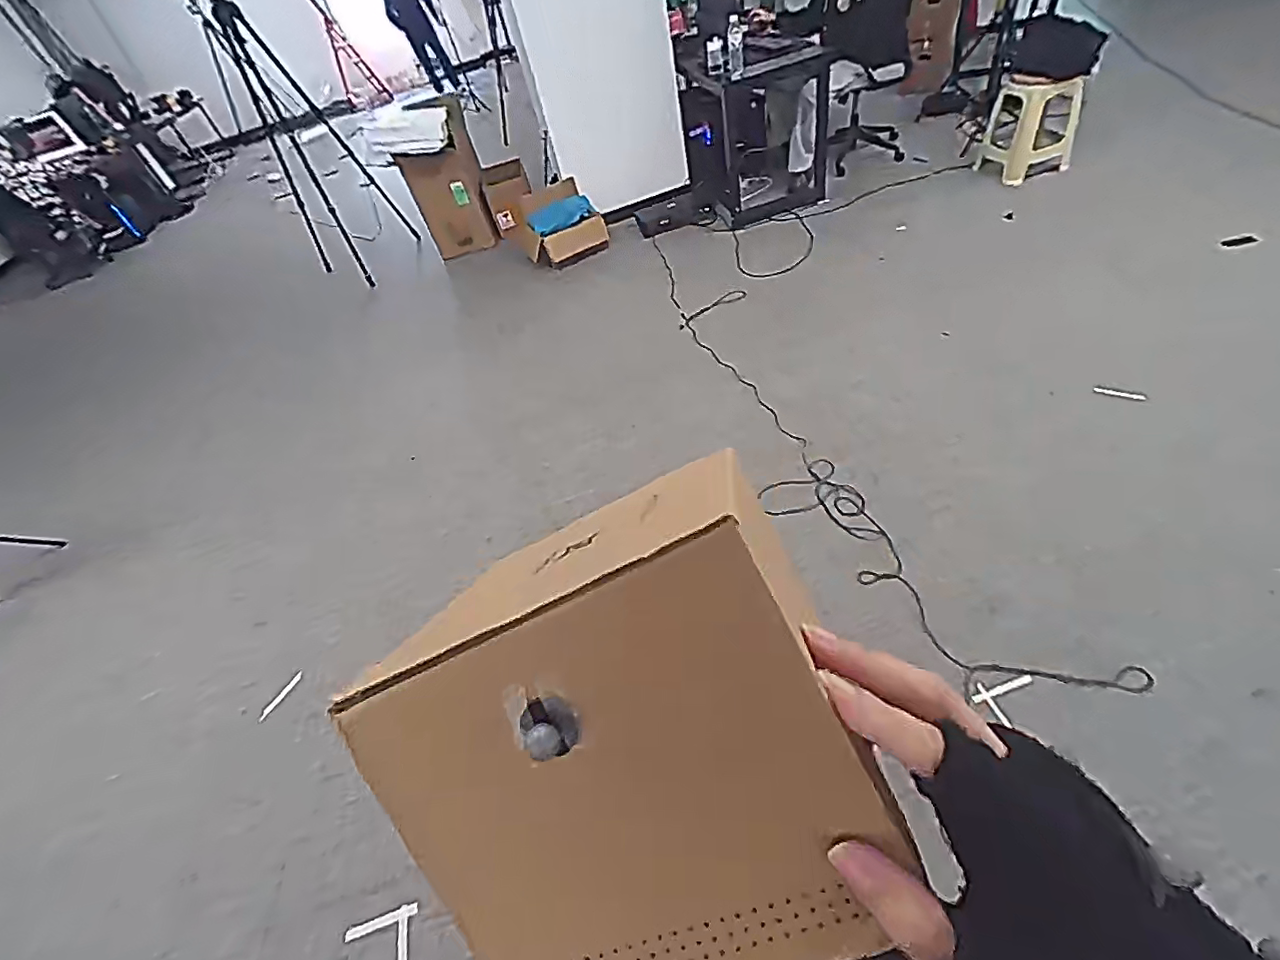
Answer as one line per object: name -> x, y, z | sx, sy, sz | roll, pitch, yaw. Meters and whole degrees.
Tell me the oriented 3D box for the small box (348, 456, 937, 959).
small box -> 0.008, 0.111, 0.277 | 0.179, 0.176, 0.168 | -28, 6, 13
